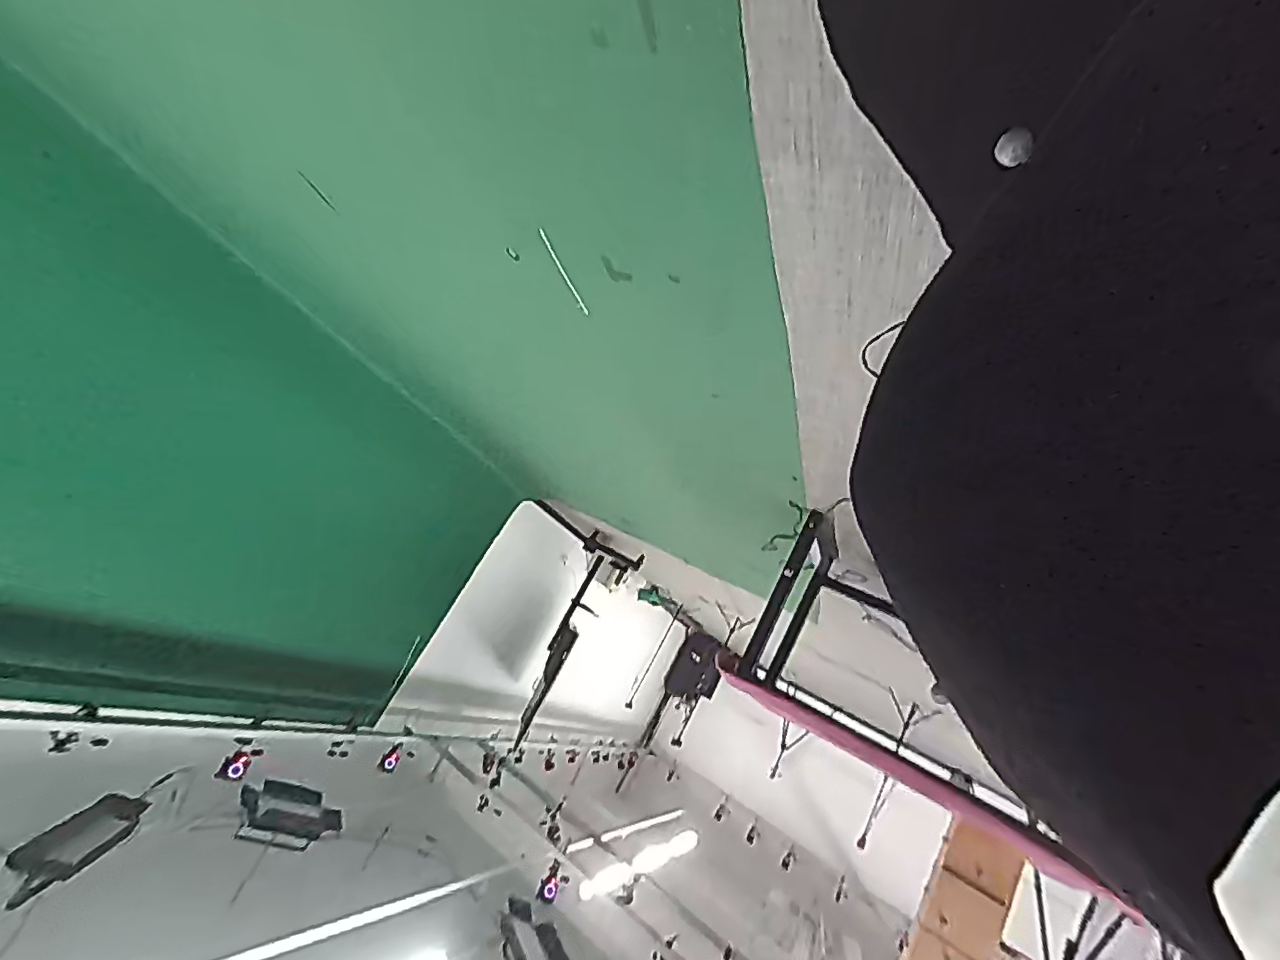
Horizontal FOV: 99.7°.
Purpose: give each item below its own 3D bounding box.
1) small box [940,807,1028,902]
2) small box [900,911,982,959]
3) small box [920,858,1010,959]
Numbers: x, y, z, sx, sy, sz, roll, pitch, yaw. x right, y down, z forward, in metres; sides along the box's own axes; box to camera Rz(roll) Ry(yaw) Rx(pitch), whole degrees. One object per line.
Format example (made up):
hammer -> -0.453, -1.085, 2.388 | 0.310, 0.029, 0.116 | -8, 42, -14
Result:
small box -> 1.047, 1.132, 1.654 | 0.179, 0.176, 0.168 | 21, 163, 31
small box -> 0.875, 1.397, 1.560 | 0.179, 0.176, 0.168 | 23, 164, 31
small box -> 0.958, 1.263, 1.602 | 0.179, 0.176, 0.168 | 22, 164, 30
